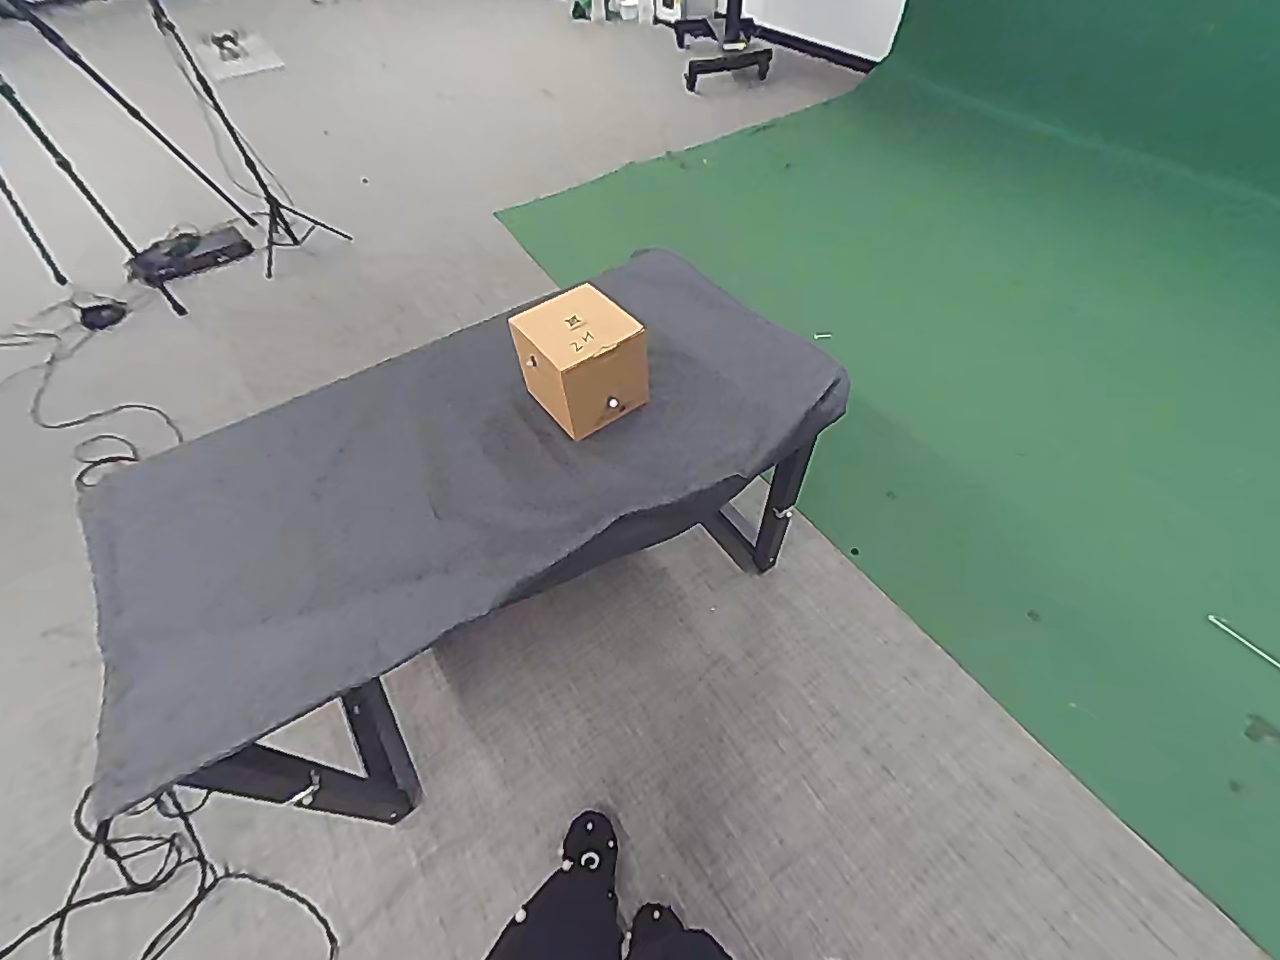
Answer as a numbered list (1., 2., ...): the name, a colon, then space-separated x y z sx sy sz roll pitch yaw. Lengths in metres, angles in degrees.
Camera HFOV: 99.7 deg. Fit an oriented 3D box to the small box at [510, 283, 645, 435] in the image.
1. small box: -0.106 -0.212 0.964 0.168 0.176 0.179 -32 58 -19
